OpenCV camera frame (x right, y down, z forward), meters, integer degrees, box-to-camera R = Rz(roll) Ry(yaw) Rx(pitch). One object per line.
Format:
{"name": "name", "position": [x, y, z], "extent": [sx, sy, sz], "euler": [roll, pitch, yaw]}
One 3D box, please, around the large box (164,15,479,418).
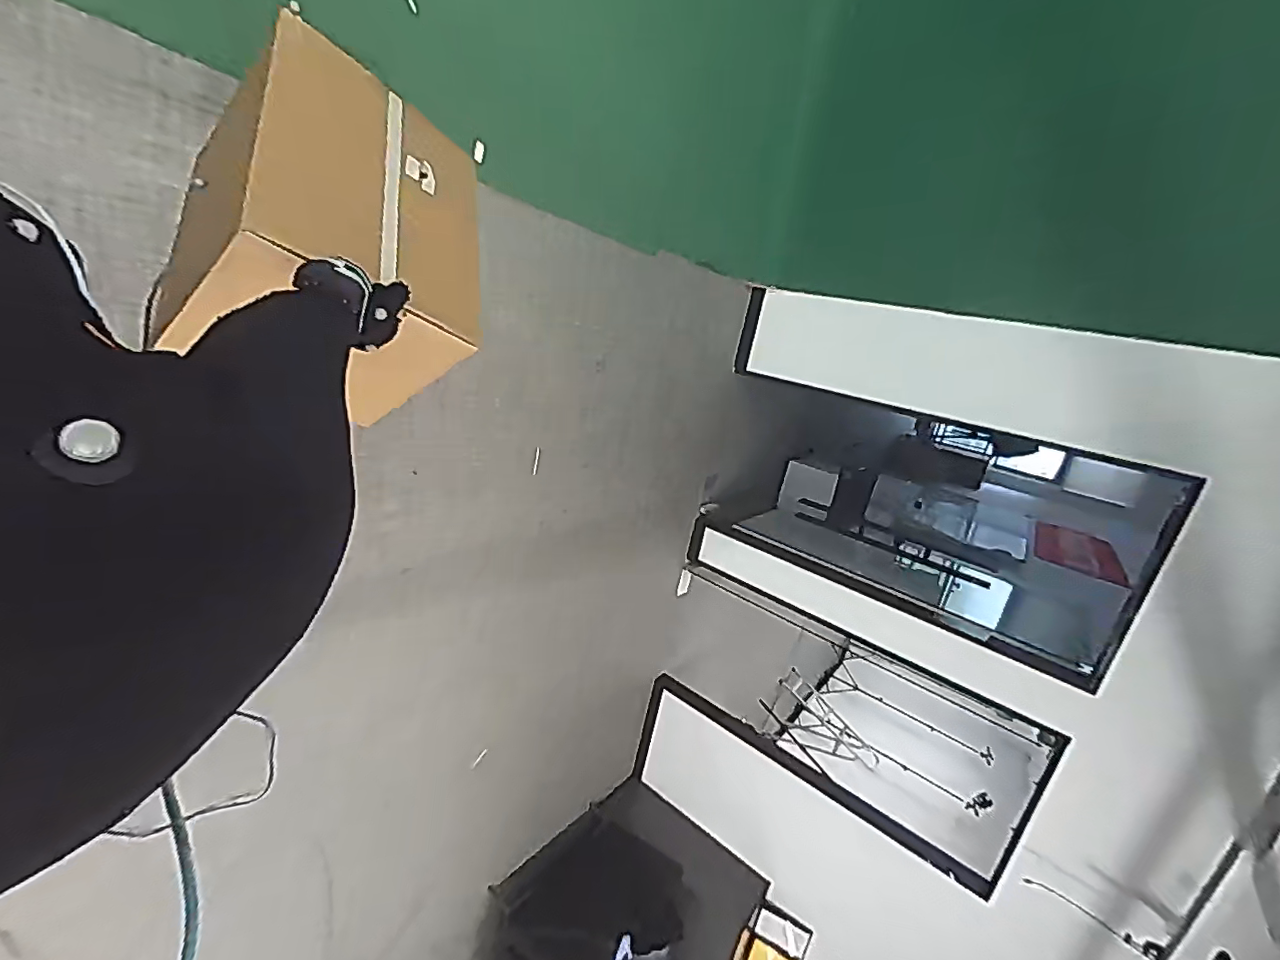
{"name": "large box", "position": [-0.482, -0.367, 0.852], "extent": [0.320, 0.320, 0.408], "euler": [22, 53, -51]}
